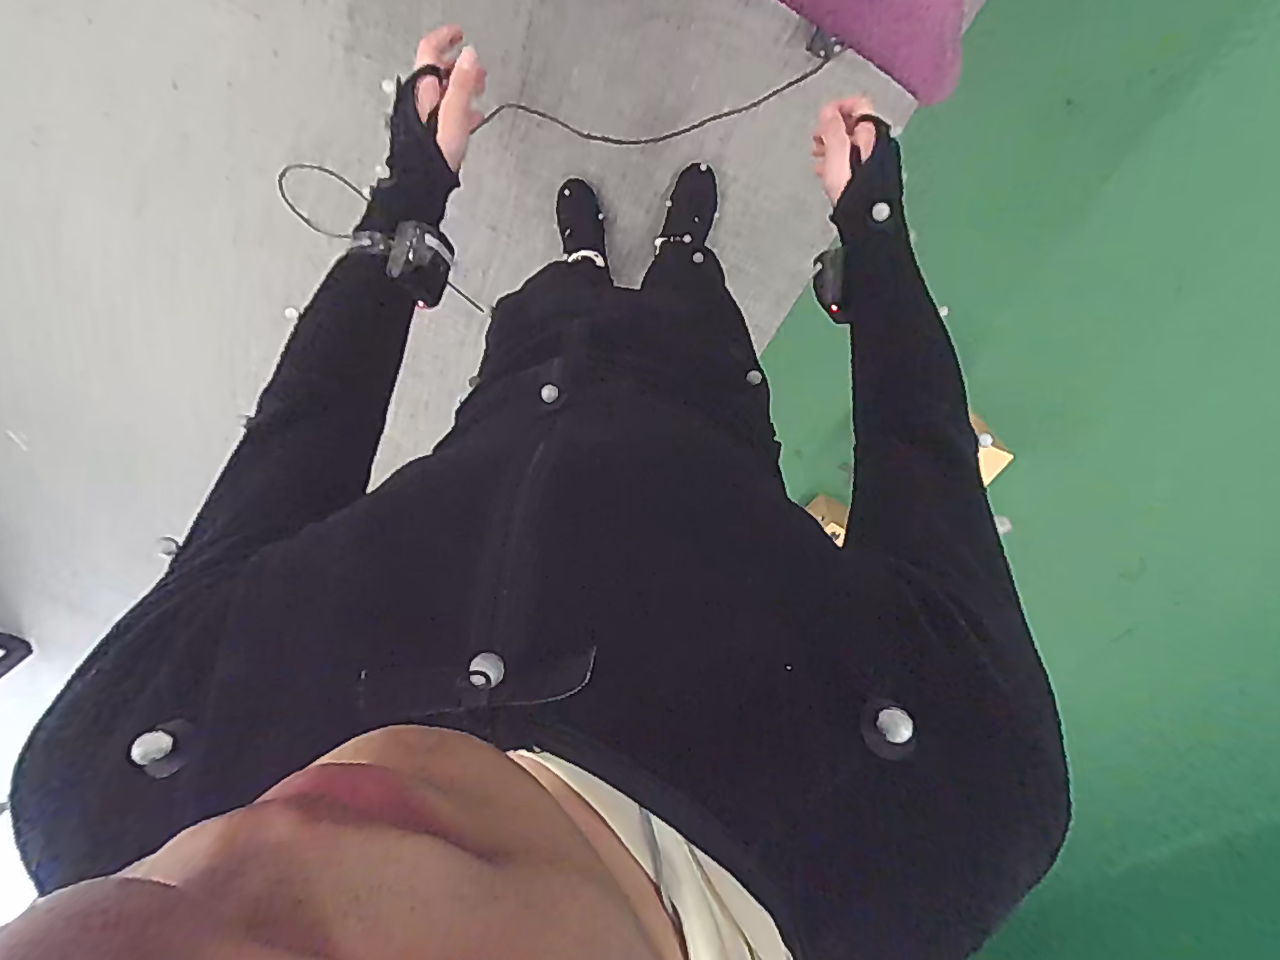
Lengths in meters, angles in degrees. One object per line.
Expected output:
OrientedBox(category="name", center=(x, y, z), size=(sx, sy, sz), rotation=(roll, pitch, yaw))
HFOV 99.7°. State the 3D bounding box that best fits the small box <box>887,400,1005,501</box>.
OrientedBox(category="small box", center=(0.769, -0.080, 1.379), size=(0.179, 0.176, 0.168), rotation=(21, 124, -6))
